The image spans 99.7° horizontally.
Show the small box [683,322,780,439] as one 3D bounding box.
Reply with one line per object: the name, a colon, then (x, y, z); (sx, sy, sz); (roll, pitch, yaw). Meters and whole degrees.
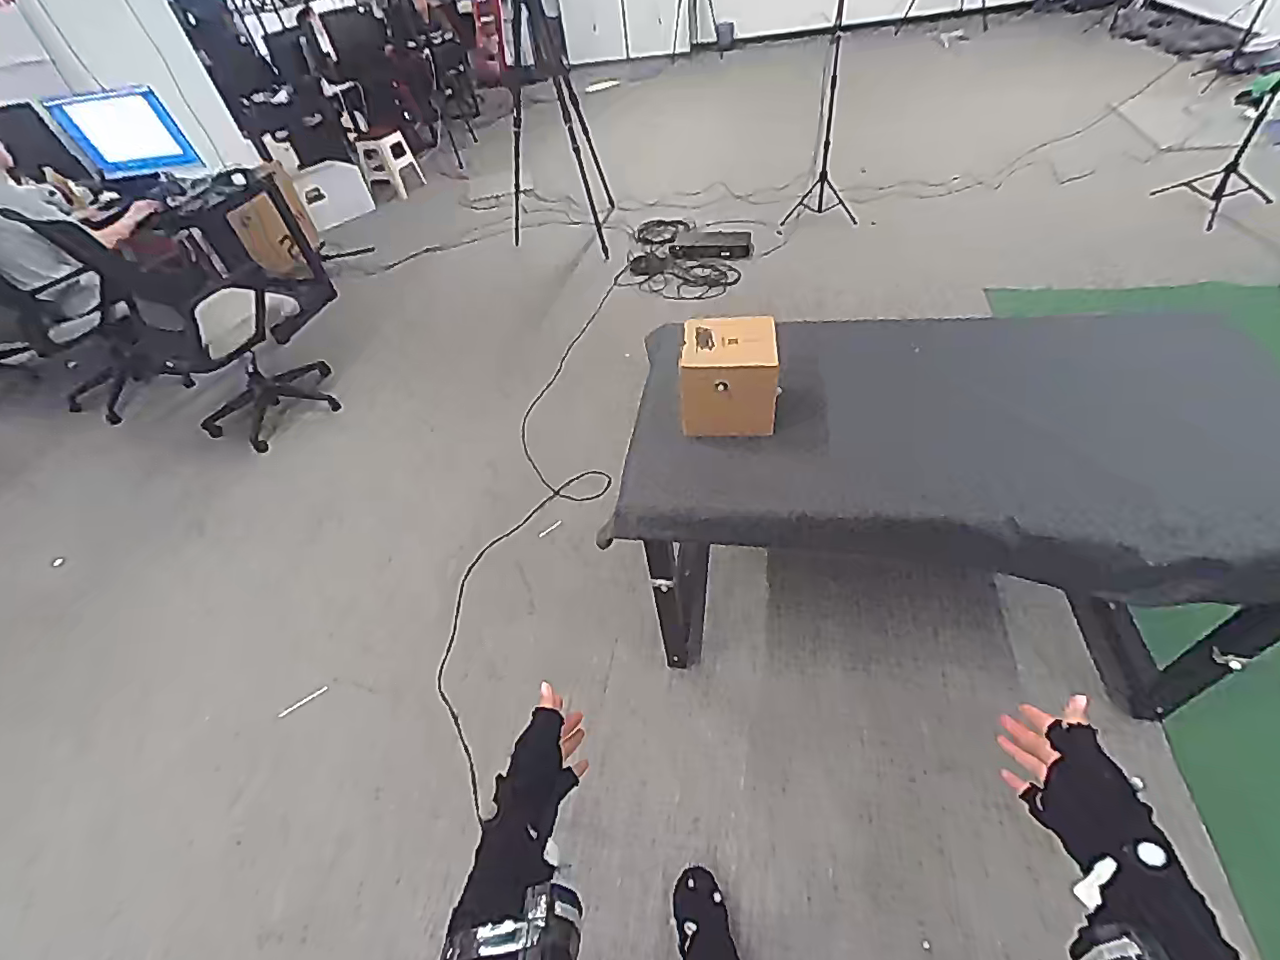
small box: (0.182, -0.195, 1.074); (0.179, 0.176, 0.168); (1, 47, 9)
